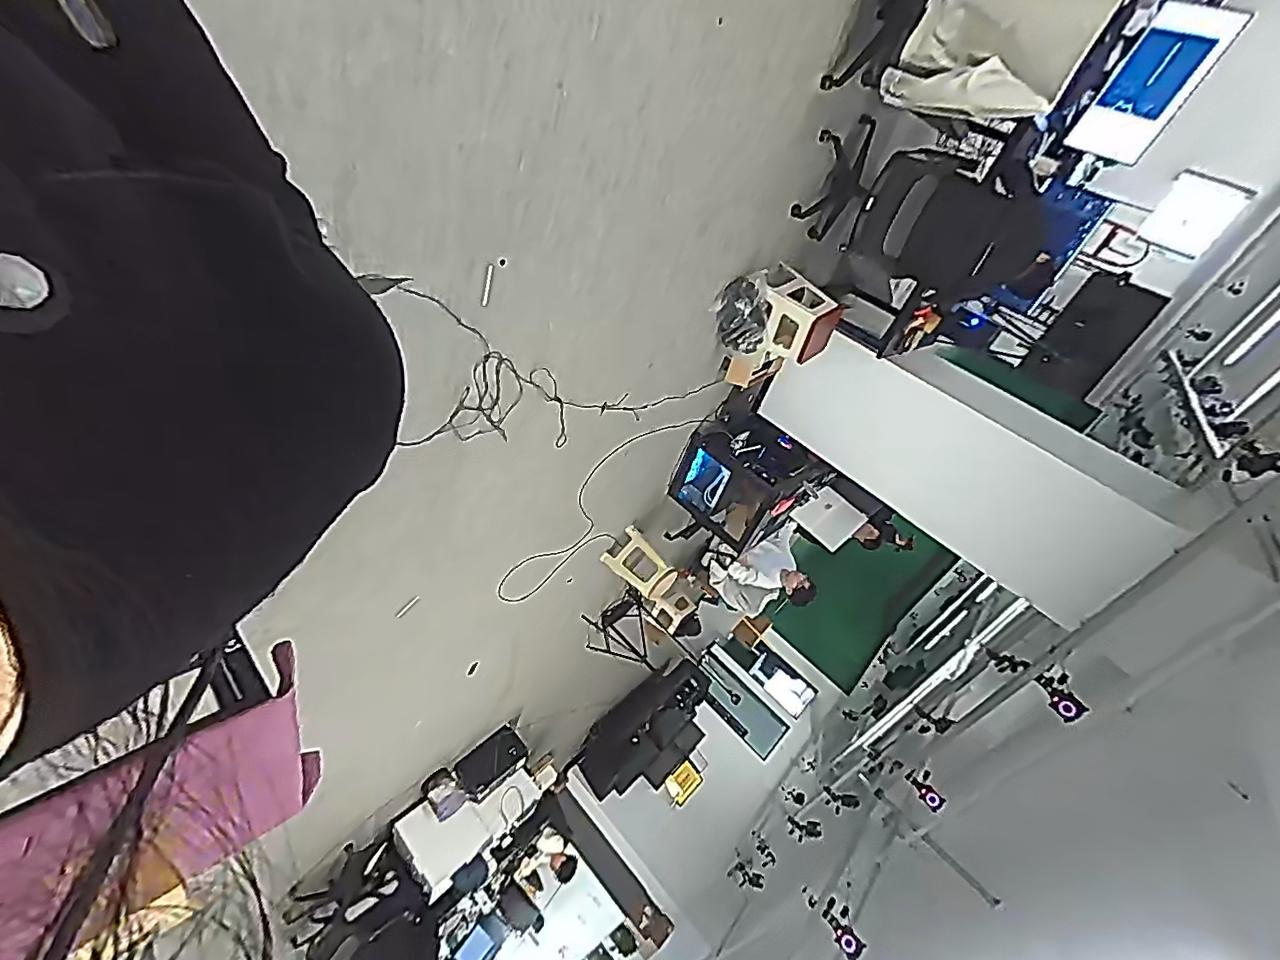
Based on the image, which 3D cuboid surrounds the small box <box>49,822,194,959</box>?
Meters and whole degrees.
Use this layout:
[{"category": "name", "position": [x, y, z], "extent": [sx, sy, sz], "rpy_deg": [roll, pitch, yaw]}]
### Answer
[{"category": "small box", "position": [-1.026, 0.832, 1.077], "extent": [0.168, 0.176, 0.179], "rpy_deg": [-21, 142, -47]}]
